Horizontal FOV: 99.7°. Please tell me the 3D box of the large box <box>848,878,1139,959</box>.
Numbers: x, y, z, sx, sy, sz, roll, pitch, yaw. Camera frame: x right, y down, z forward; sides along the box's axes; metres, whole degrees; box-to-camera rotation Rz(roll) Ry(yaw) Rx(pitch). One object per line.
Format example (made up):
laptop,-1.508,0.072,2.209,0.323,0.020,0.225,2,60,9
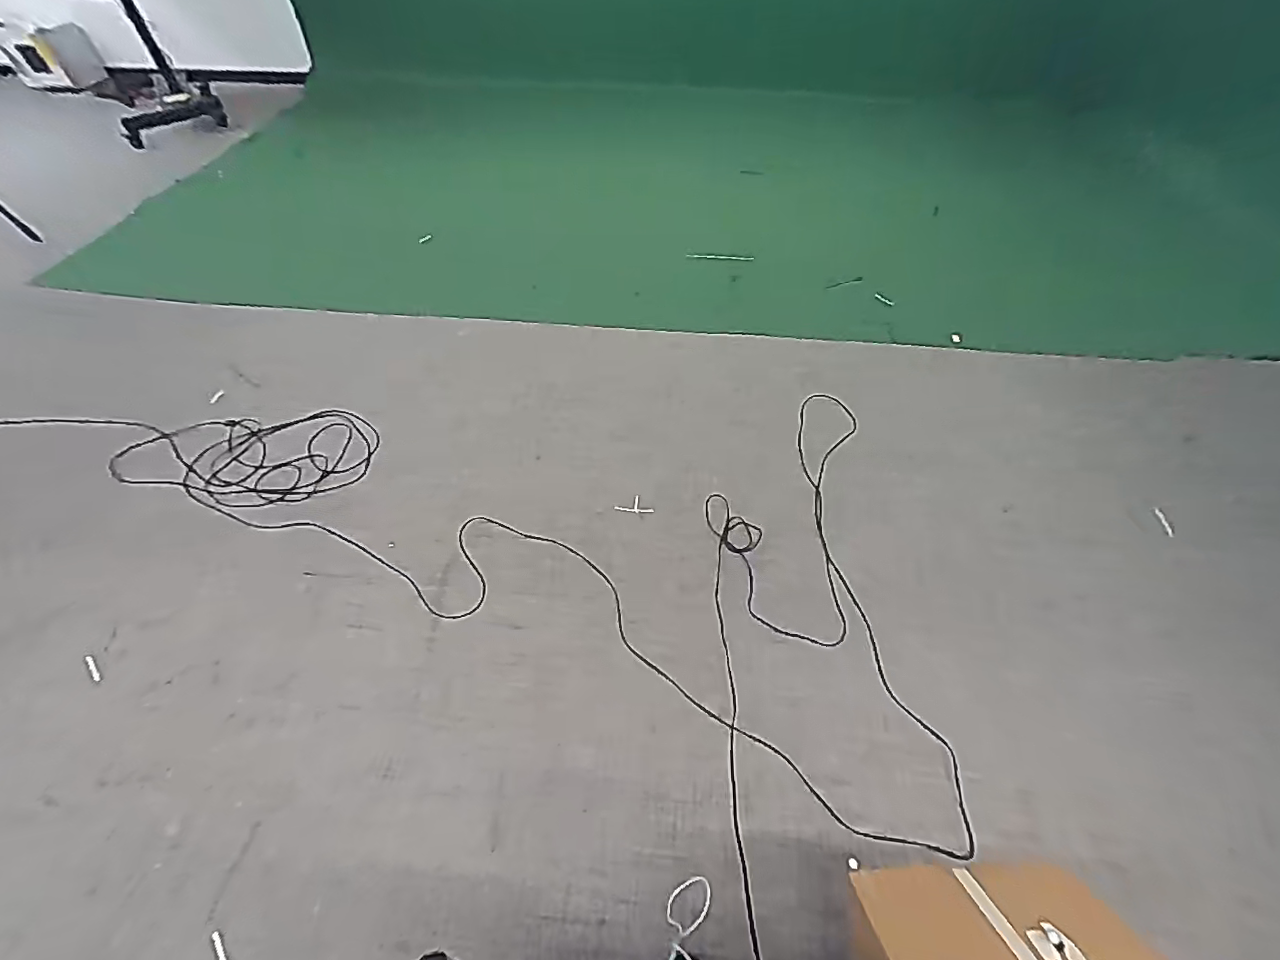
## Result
large box,0.460,0.737,0.591,0.320,0.408,0.320,-2,89,2
